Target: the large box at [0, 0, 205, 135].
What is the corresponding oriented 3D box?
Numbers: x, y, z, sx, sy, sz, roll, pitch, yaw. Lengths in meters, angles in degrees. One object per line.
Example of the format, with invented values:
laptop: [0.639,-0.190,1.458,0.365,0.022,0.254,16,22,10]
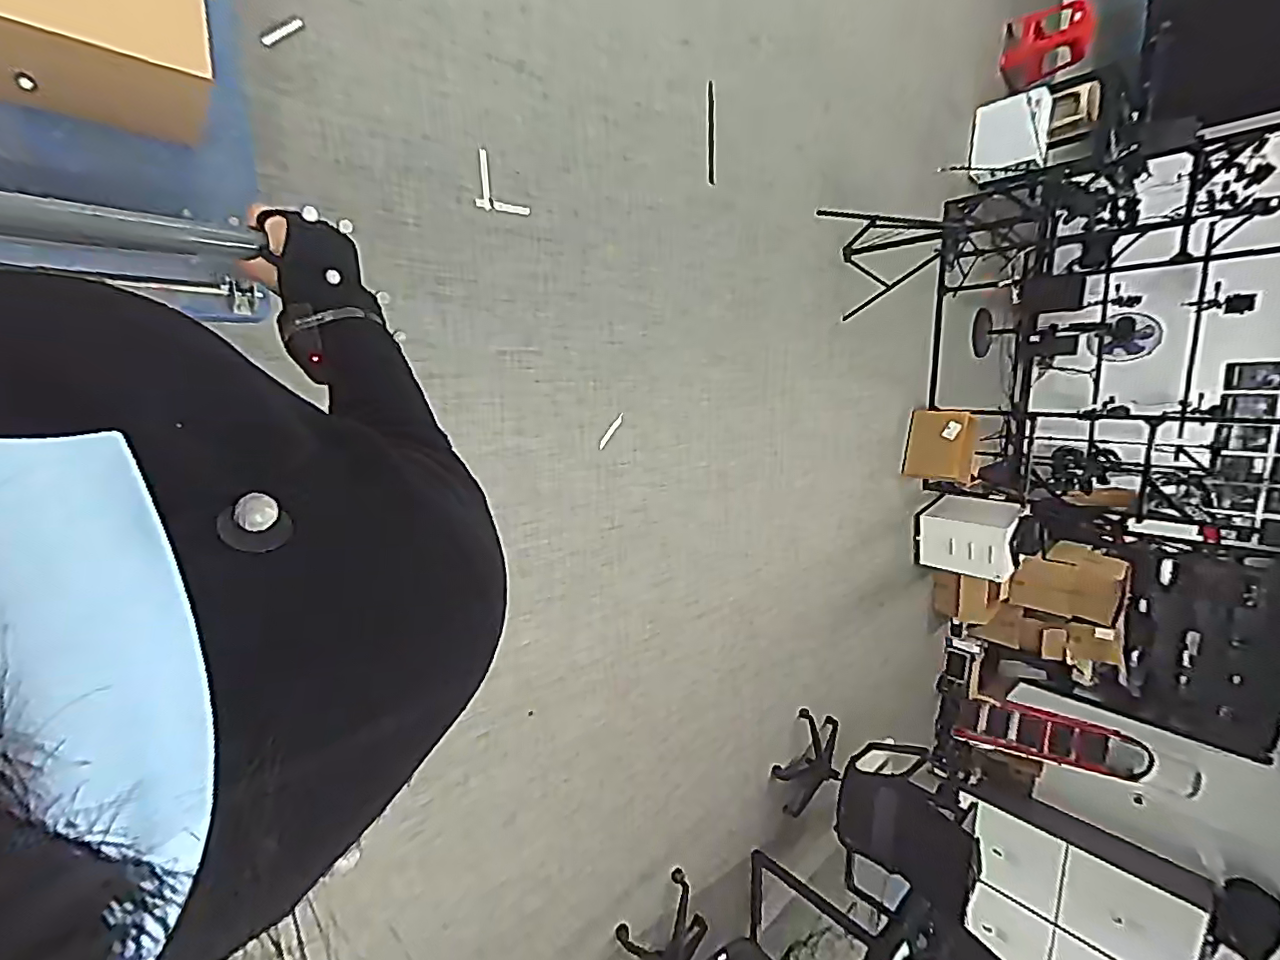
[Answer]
large box: [-0.877,-0.737,0.737,0.408,0.320,0.320,-8,102,-41]
